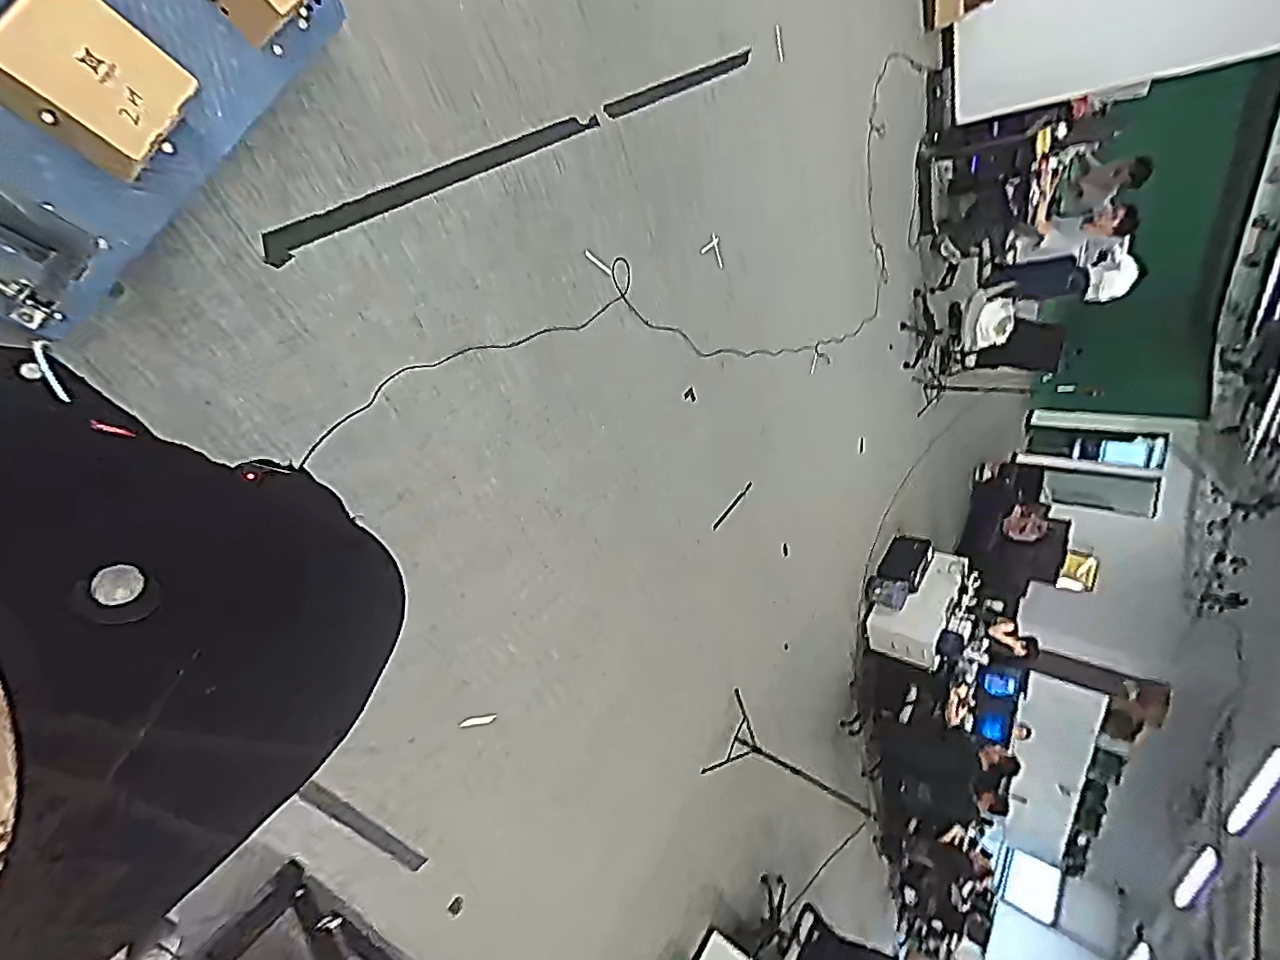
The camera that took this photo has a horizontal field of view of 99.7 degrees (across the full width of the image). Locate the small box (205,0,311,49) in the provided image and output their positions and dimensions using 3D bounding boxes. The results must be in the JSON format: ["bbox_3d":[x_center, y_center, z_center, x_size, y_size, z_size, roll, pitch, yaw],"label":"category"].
[{"bbox_3d":[-0.666,-0.902,0.931,0.168,0.176,0.179,44,67,-44],"label":"small box"}]

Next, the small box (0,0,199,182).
[{"bbox_3d":[-0.827,-0.592,0.820,0.179,0.176,0.168,37,71,-46],"label":"small box"}]
